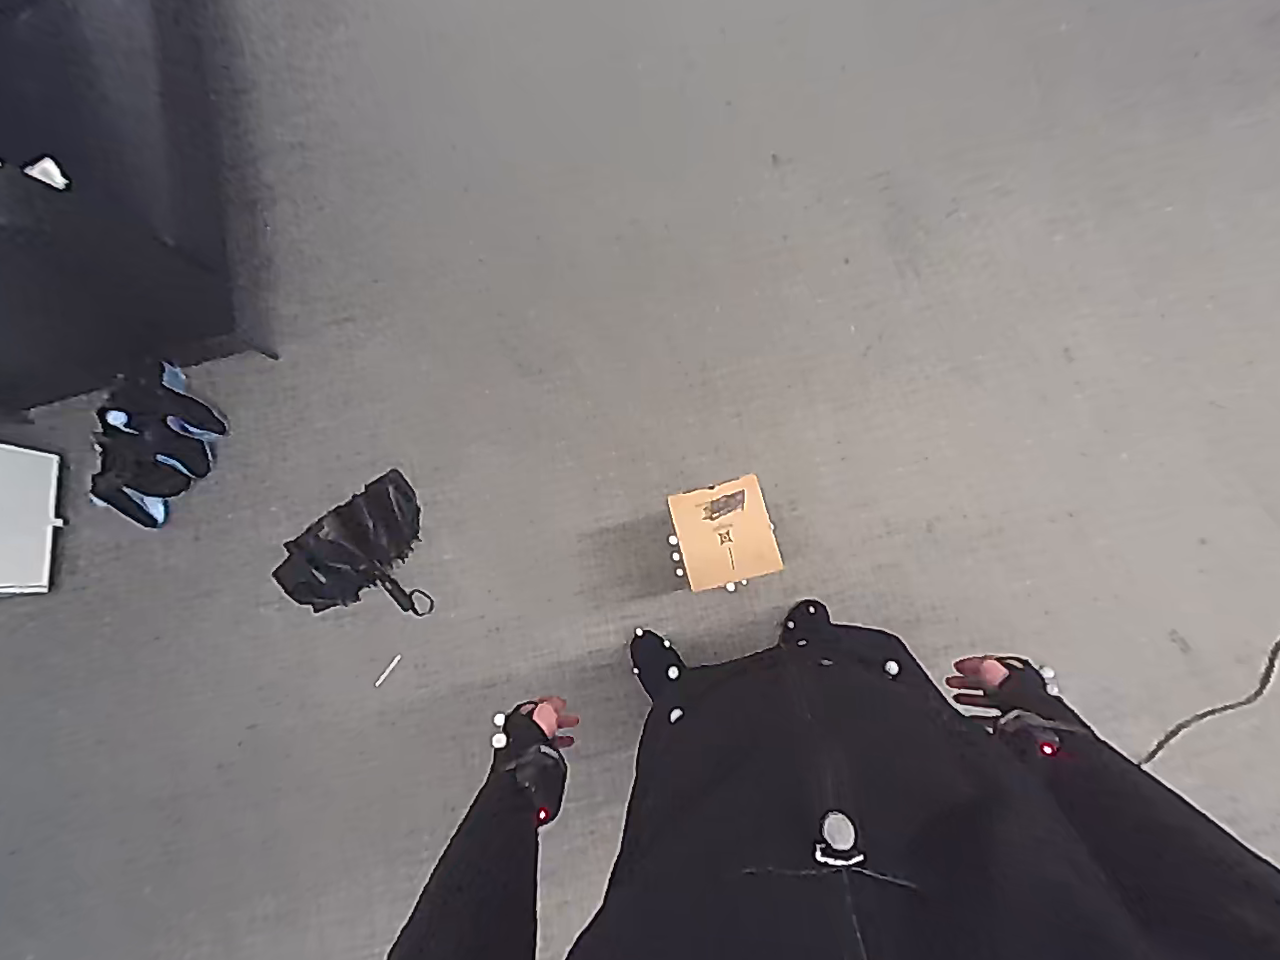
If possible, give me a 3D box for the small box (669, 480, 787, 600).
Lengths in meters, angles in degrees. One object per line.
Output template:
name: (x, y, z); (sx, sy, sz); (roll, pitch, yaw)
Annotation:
small box: (0.152, 0.113, 0.997); (0.168, 0.176, 0.179); (-15, 81, 2)
